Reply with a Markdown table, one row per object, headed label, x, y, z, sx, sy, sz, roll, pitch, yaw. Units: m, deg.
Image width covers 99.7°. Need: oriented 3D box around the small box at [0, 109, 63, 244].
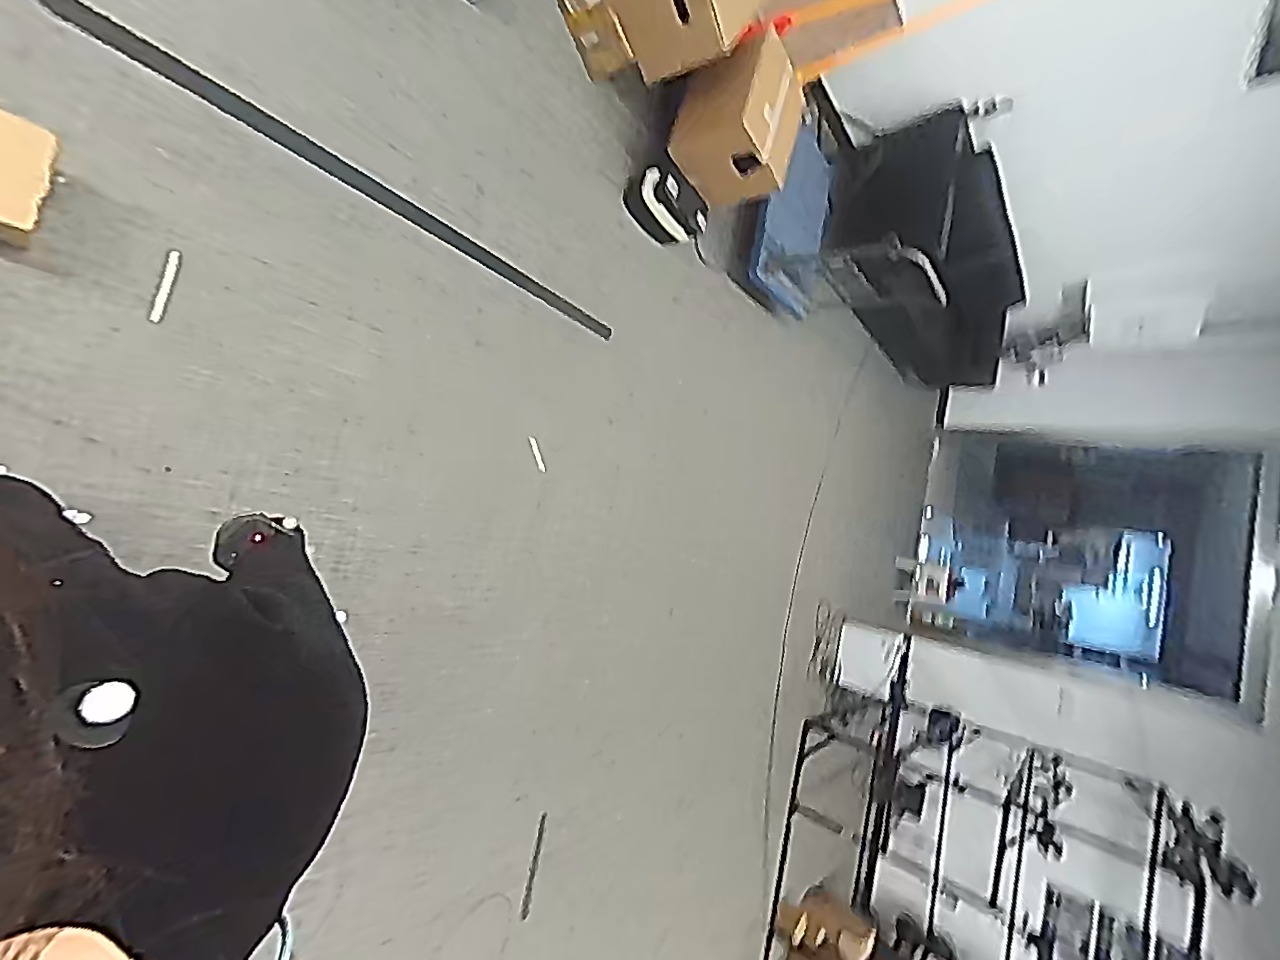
| label | x | y | z | sx | sy | sz | roll | pitch | yaw |
| --- | --- | --- | --- | --- | --- | --- | --- | --- | --- |
| small box | -1.049 | -0.490 | 0.840 | 0.179 | 0.176 | 0.168 | 18 | 82 | -49 |
